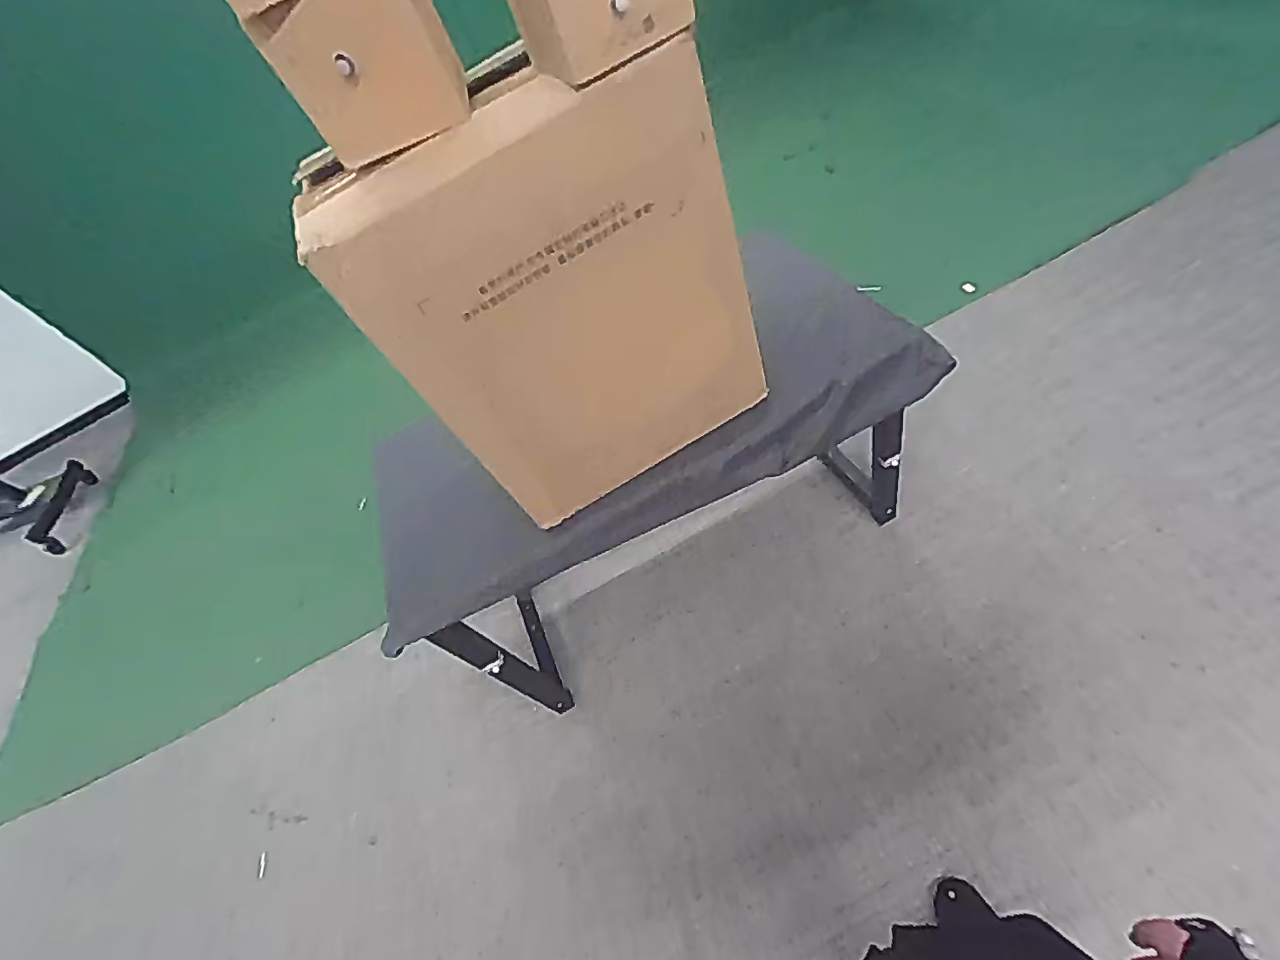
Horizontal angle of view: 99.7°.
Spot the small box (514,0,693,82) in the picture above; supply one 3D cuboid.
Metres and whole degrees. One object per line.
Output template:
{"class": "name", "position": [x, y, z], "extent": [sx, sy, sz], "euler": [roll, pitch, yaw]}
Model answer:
{"class": "small box", "position": [-0.061, -0.593, 0.619], "extent": [0.168, 0.176, 0.179], "euler": [-31, 50, -2]}

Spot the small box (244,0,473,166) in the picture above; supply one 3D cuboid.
{"class": "small box", "position": [-0.330, -0.529, 0.665], "extent": [0.179, 0.176, 0.168], "euler": [-20, 58, 7]}
